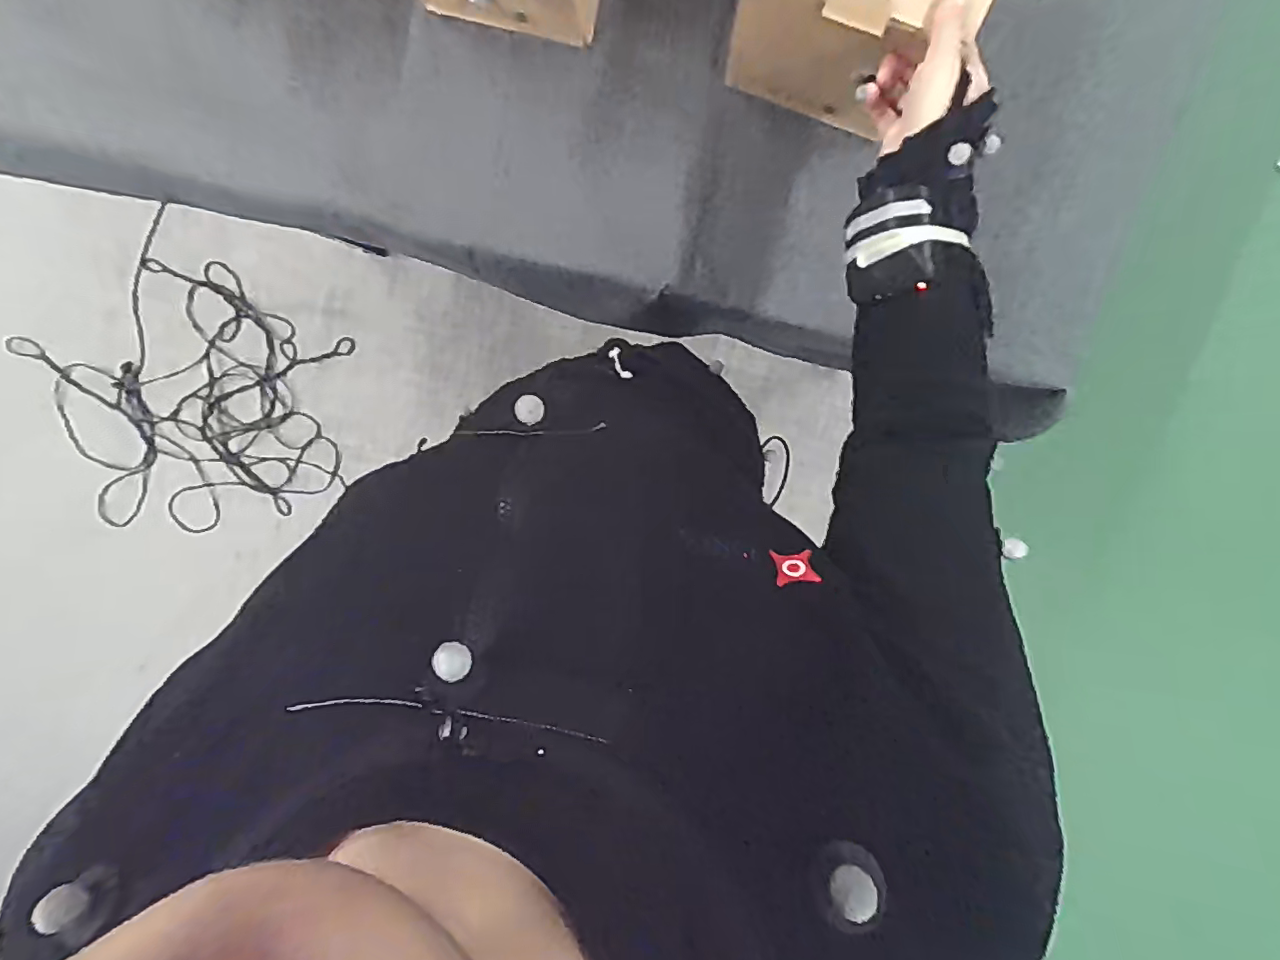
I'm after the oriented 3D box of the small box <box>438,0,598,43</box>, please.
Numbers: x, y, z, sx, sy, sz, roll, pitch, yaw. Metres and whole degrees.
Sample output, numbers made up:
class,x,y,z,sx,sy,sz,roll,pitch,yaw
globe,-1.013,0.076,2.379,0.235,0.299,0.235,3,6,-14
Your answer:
class,x,y,z,sx,sy,sz,roll,pitch,yaw
small box,-0.111,-0.508,0.430,0.168,0.176,0.179,14,103,0

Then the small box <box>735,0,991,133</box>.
class,x,y,z,sx,sy,sz,roll,pitch,yaw
small box,0.184,-0.418,0.429,0.168,0.176,0.179,19,102,-2
